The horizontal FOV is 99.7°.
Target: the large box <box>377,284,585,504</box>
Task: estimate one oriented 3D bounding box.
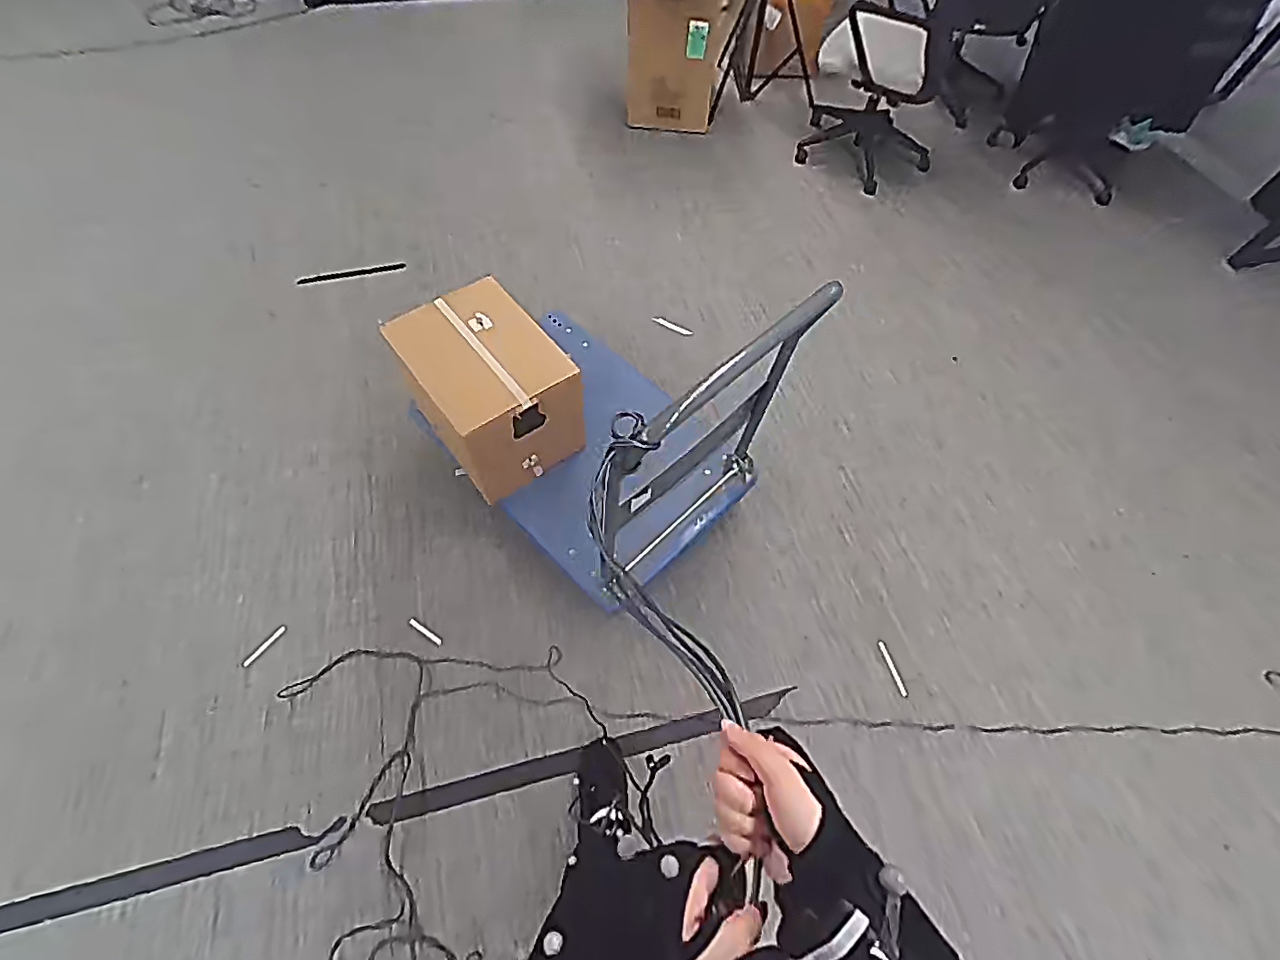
[{"bbox_3d":[-0.388,-0.217,1.390,0.320,0.320,0.408,-34,66,-21],"label":"large box"}]
